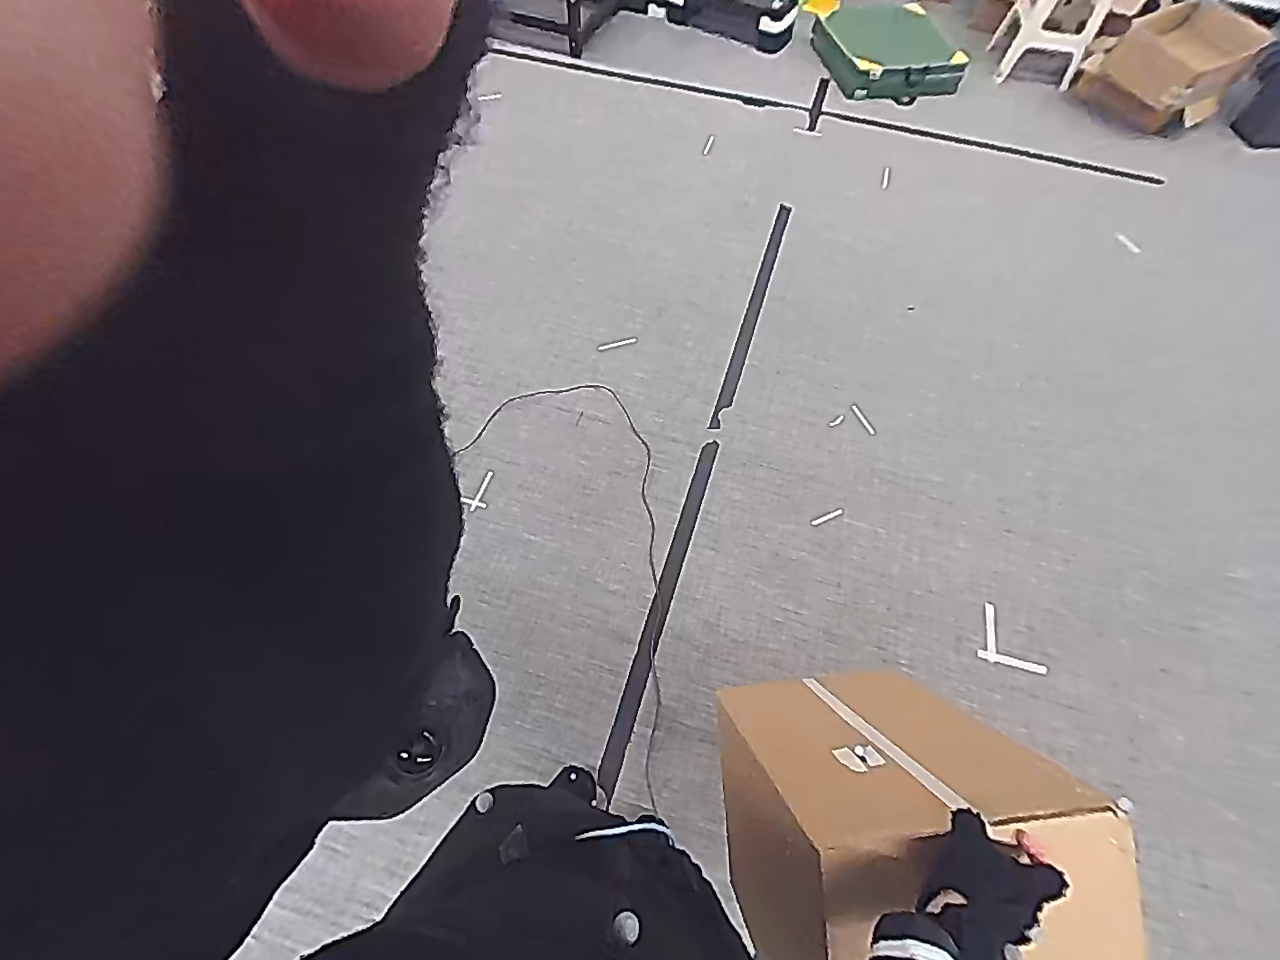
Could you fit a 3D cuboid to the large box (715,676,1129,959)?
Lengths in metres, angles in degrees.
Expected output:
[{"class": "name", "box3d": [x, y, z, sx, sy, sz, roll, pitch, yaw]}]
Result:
[{"class": "large box", "box3d": [0.306, 0.488, 0.704, 0.320, 0.408, 0.320, -5, 90, -6]}]
